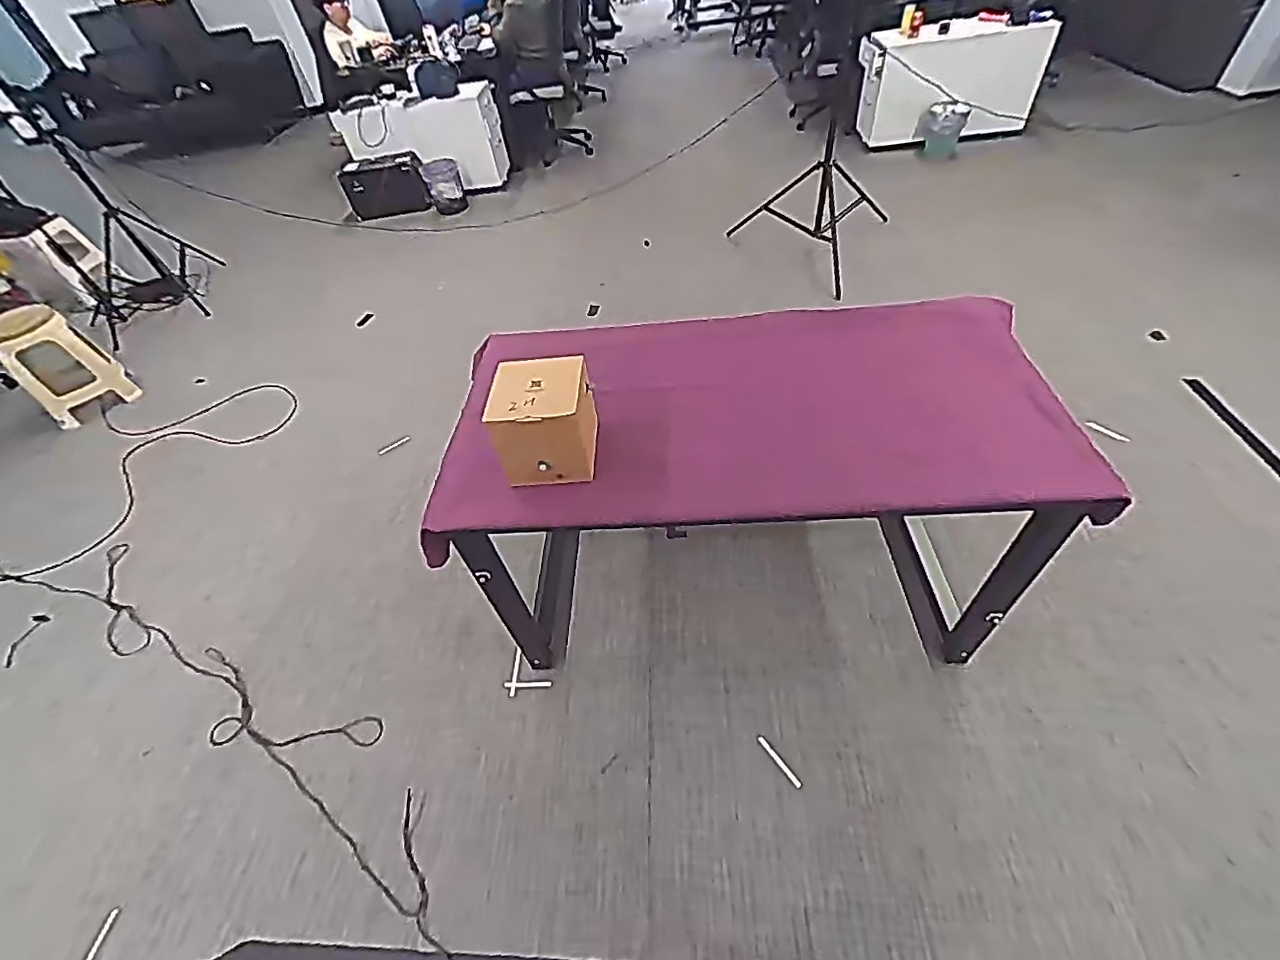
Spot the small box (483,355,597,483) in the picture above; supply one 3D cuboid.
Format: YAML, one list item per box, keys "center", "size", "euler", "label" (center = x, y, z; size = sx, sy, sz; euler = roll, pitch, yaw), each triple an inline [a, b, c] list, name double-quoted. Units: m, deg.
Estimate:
- center: [-0.178, -0.114, 1.030]
  size: [0.168, 0.176, 0.179]
  euler: [-4, 48, 5]
  label: "small box"
